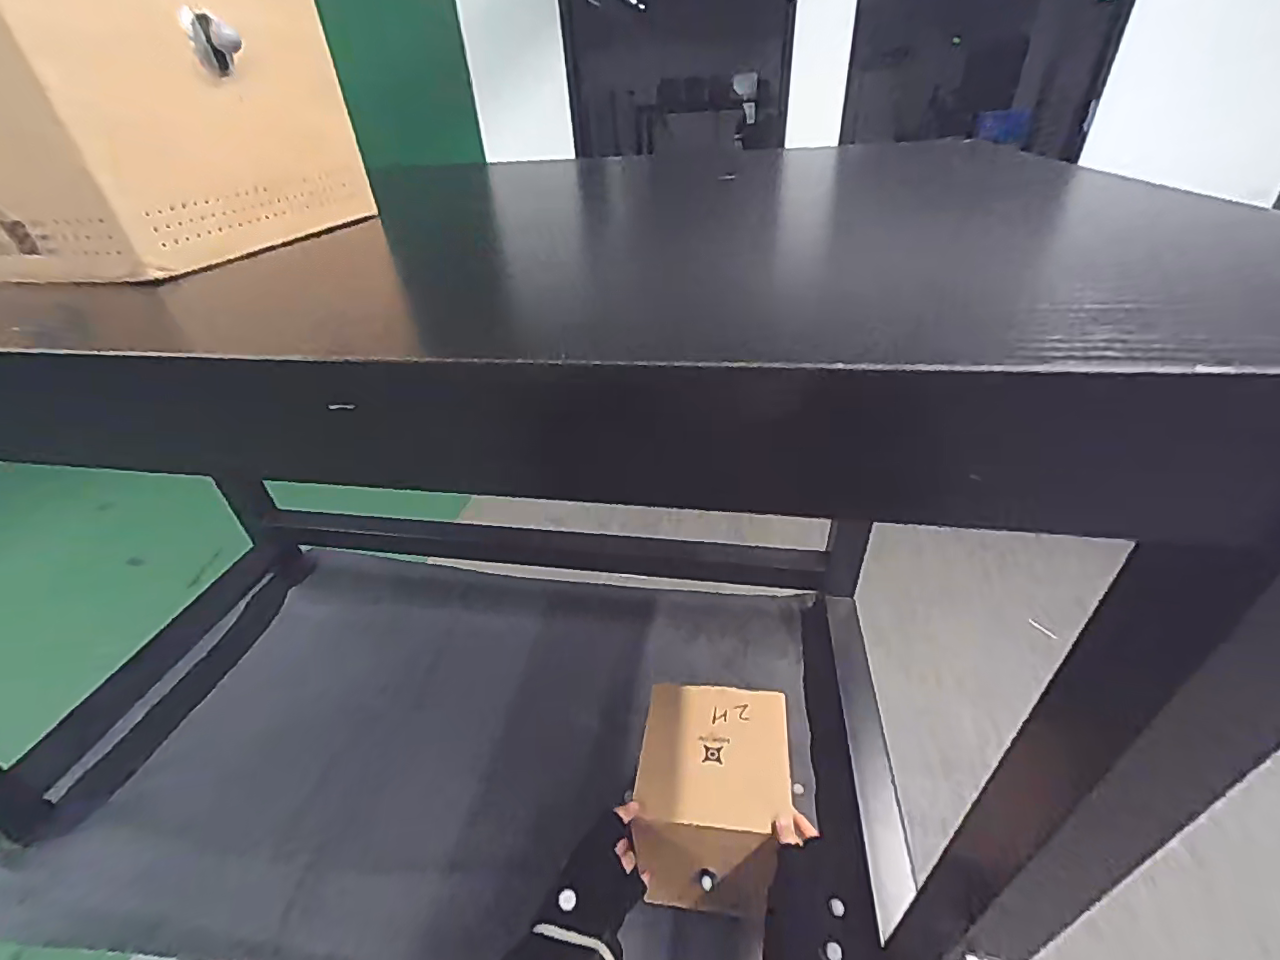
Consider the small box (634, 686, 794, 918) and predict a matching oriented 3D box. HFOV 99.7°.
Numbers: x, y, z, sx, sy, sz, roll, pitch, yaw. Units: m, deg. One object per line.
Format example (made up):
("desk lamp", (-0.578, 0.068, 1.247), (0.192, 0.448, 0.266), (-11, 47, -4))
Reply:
("small box", (0.096, 0.378, 0.647), (0.168, 0.176, 0.179), (0, 27, 11))
